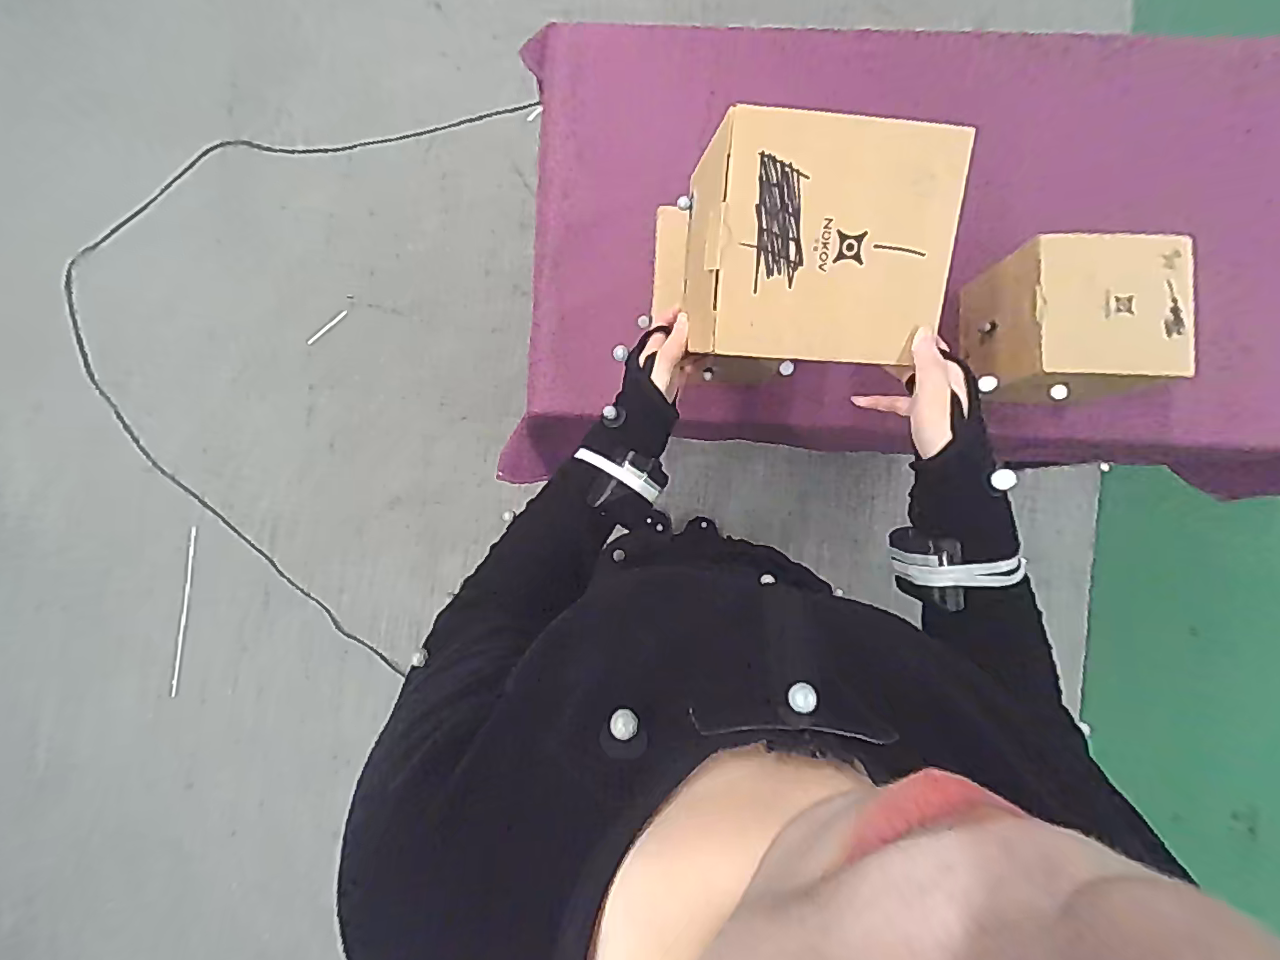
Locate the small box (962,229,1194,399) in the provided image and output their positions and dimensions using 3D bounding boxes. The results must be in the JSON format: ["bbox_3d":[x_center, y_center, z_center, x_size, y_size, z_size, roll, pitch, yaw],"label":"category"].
[{"bbox_3d":[0.544,-0.201,0.697,0.179,0.176,0.168,2,88,3],"label":"small box"}]

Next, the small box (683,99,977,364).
[{"bbox_3d":[0.136,-0.191,0.462,0.179,0.176,0.168,2,105,-5],"label":"small box"}]

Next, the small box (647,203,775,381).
[{"bbox_3d":[0.098,-0.235,0.714,0.168,0.176,0.179,3,87,2],"label":"small box"}]
